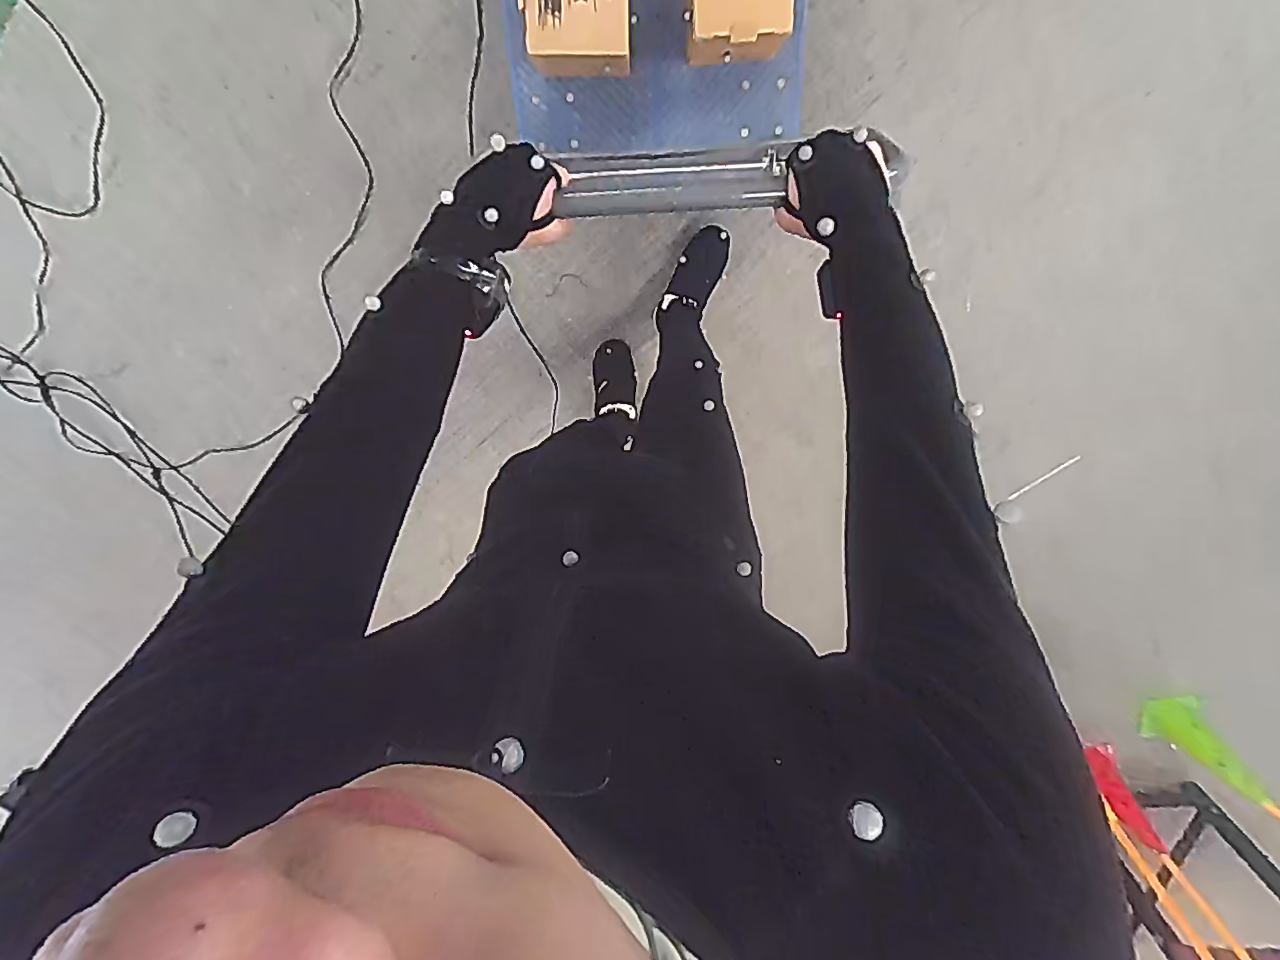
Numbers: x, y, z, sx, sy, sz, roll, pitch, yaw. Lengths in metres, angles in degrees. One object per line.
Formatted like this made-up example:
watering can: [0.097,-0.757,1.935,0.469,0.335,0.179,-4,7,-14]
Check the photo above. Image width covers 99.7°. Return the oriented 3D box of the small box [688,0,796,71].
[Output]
small box: [0.172,-0.848,0.946,0.168,0.176,0.179,-3,116,2]
